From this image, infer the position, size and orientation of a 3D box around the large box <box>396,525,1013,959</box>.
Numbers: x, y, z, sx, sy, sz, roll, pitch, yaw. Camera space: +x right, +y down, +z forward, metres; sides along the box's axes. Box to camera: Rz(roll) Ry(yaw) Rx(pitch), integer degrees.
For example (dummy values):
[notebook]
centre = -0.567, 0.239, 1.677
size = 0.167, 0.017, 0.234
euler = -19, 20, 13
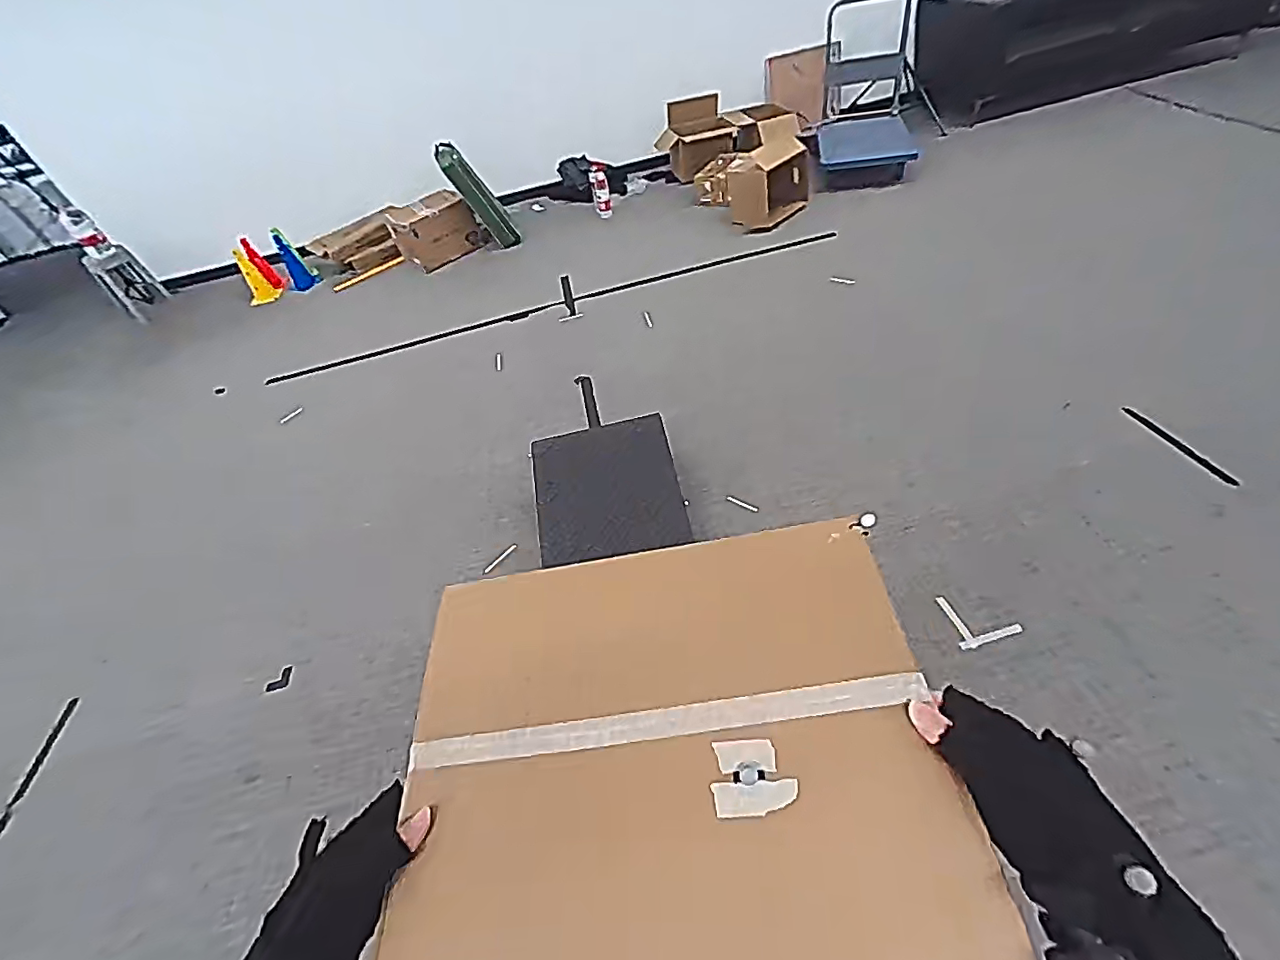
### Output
[large box]
centre = 0.045, 0.289, 0.542
size = 0.408, 0.320, 0.320
euler = -11, 50, 6
